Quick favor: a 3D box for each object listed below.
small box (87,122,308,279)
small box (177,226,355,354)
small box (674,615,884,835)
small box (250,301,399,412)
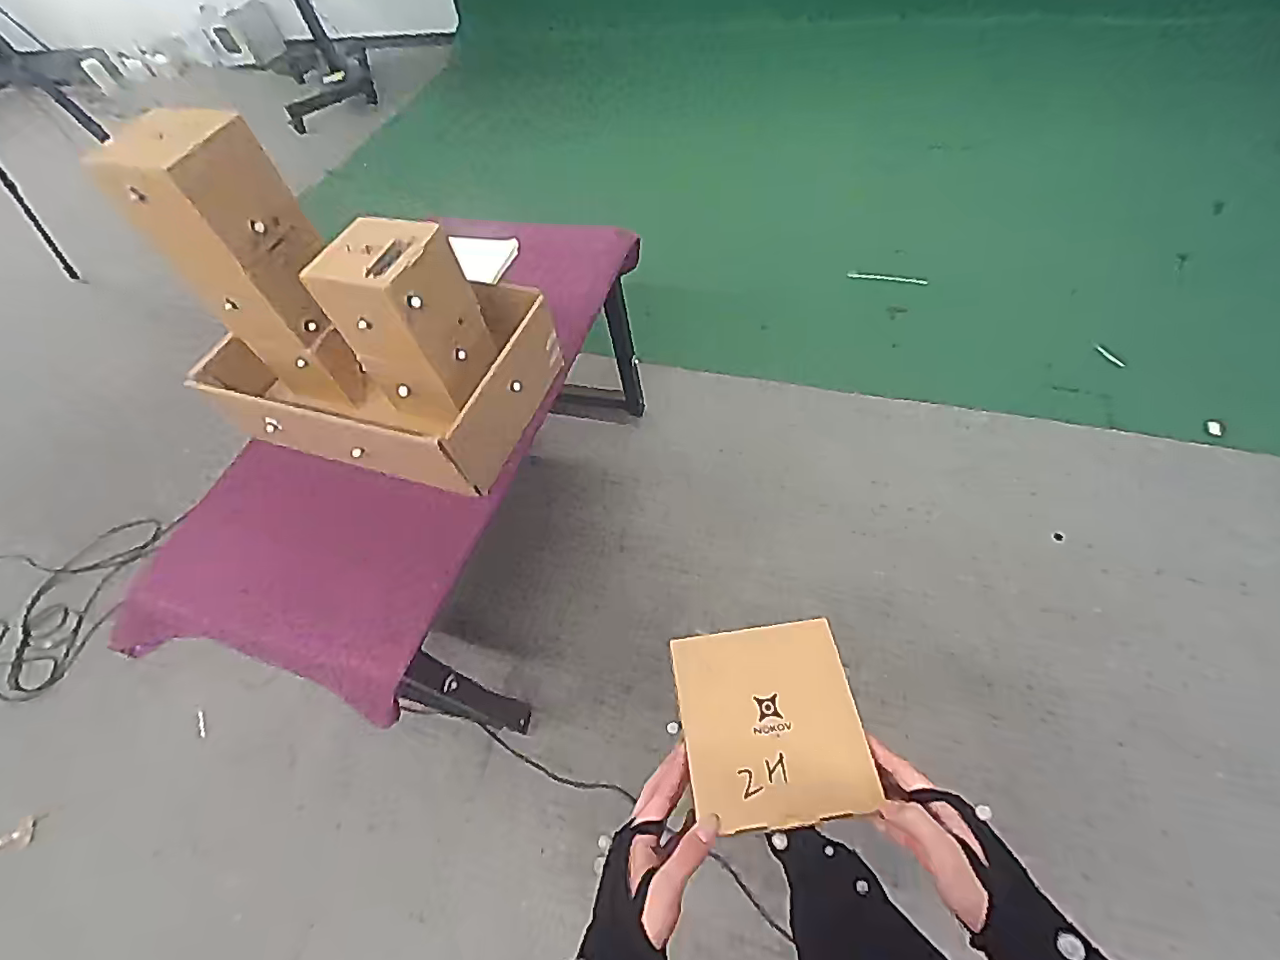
[{"bbox_3d":[-0.695,-0.448,0.874,0.179,0.176,0.168,12,59,14],"label":"small box"},{"bbox_3d":[-0.679,-0.357,1.008,0.179,0.176,0.168,11,58,15],"label":"small box"},{"bbox_3d":[0.128,0.266,0.579,0.168,0.176,0.179,-8,55,1],"label":"small box"},{"bbox_3d":[-0.654,-0.265,1.142,0.179,0.176,0.168,12,59,14],"label":"small box"}]
